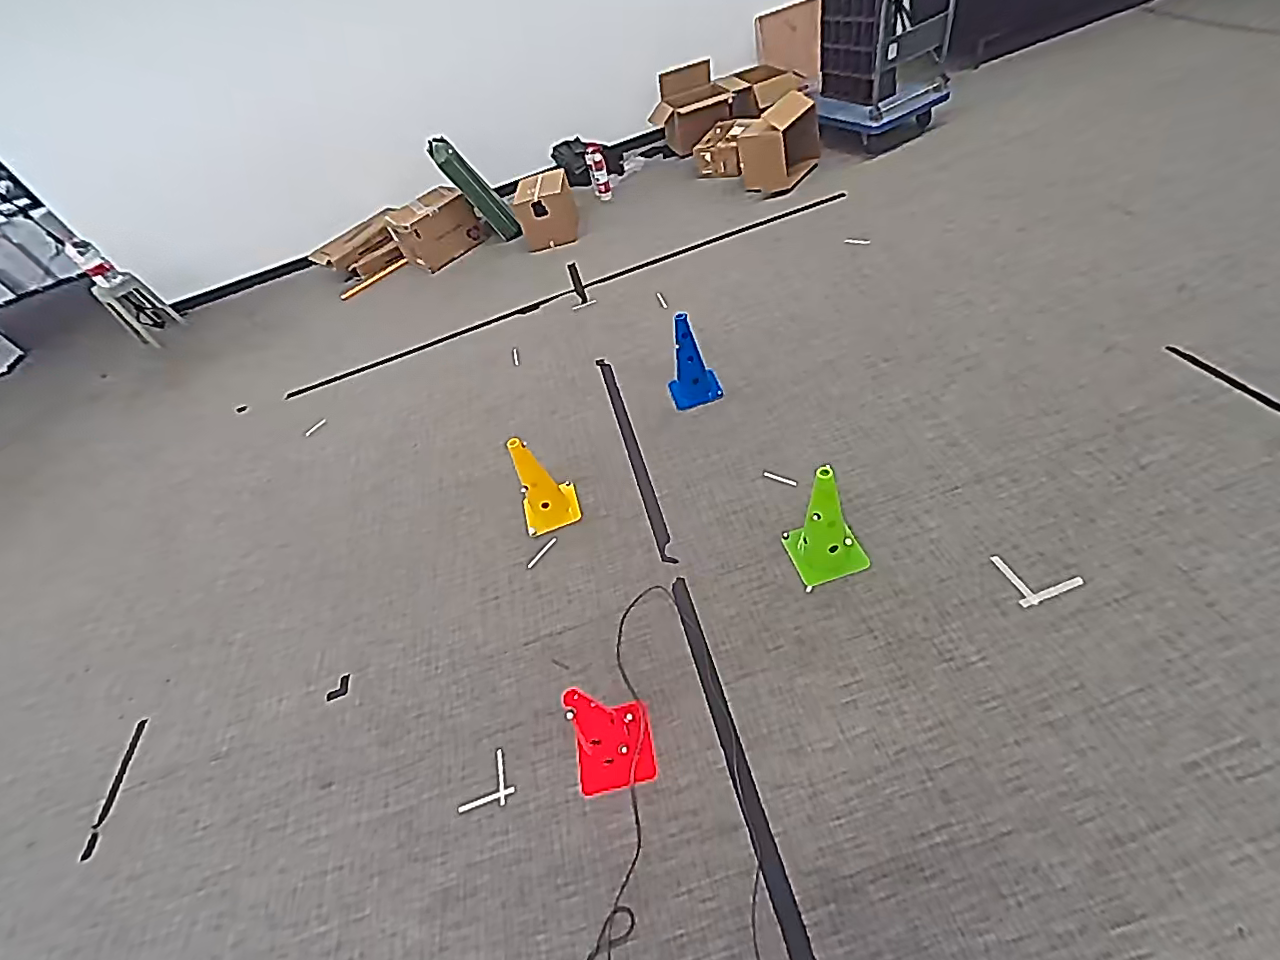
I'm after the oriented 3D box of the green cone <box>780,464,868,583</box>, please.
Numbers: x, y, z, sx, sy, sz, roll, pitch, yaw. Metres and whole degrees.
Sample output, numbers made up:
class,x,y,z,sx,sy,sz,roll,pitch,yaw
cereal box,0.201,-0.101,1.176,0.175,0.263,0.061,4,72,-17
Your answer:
class,x,y,z,sx,sy,sz,roll,pitch,yaw
green cone,0.510,0.093,1.497,0.202,0.368,0.200,-18,46,0

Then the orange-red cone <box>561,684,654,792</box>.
class,x,y,z,sx,sy,sz,roll,pitch,yaw
orange-red cone,-0.111,0.571,1.275,0.199,0.360,0.198,-17,45,5

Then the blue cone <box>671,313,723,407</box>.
class,x,y,z,sx,sy,sz,roll,pitch,yaw
blue cone,0.197,-0.487,2.138,0.192,0.380,0.193,-16,47,3
